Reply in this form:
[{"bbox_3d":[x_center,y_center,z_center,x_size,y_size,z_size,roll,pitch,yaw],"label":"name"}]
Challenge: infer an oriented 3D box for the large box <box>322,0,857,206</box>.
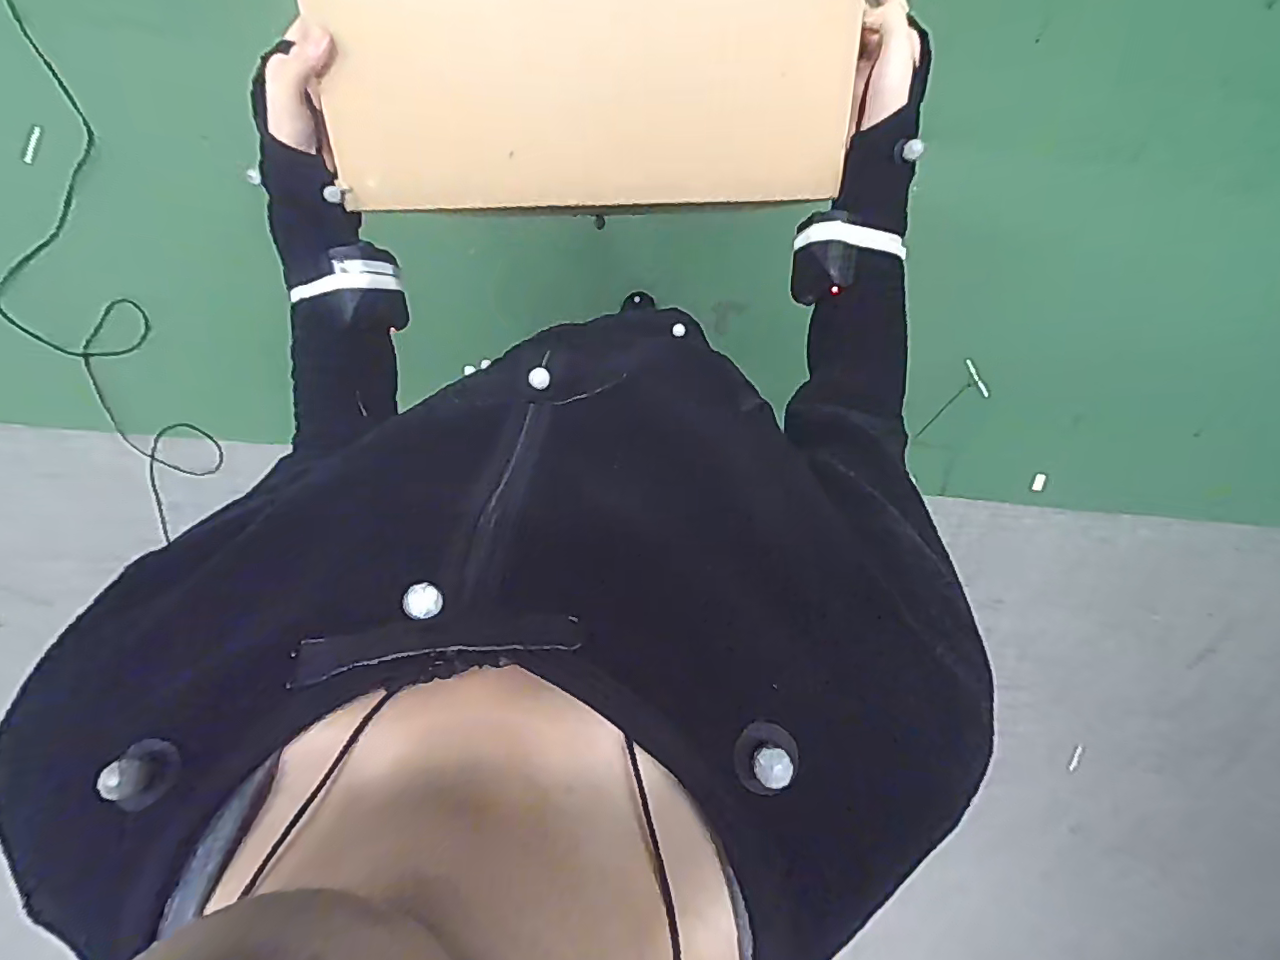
[{"bbox_3d":[-0.040,-0.445,0.522,0.408,0.320,0.320,-2,115,-2],"label":"large box"}]
